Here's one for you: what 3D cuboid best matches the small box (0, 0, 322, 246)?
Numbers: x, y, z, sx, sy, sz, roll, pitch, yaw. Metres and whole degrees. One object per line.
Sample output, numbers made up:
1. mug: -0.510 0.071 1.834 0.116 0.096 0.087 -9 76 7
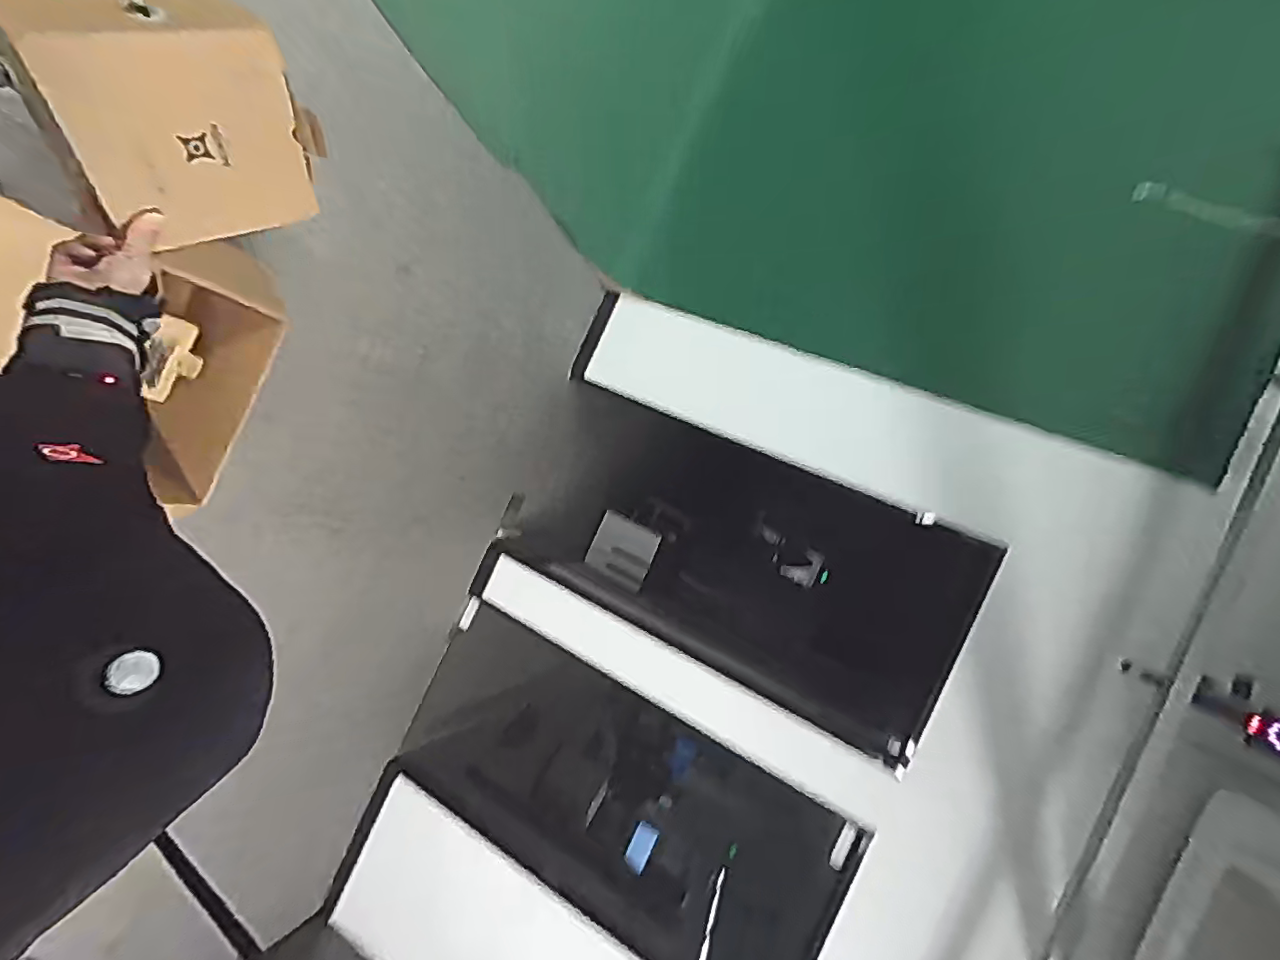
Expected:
1. small box: -0.437 -0.350 0.489 0.179 0.176 0.168 -36 158 -32
